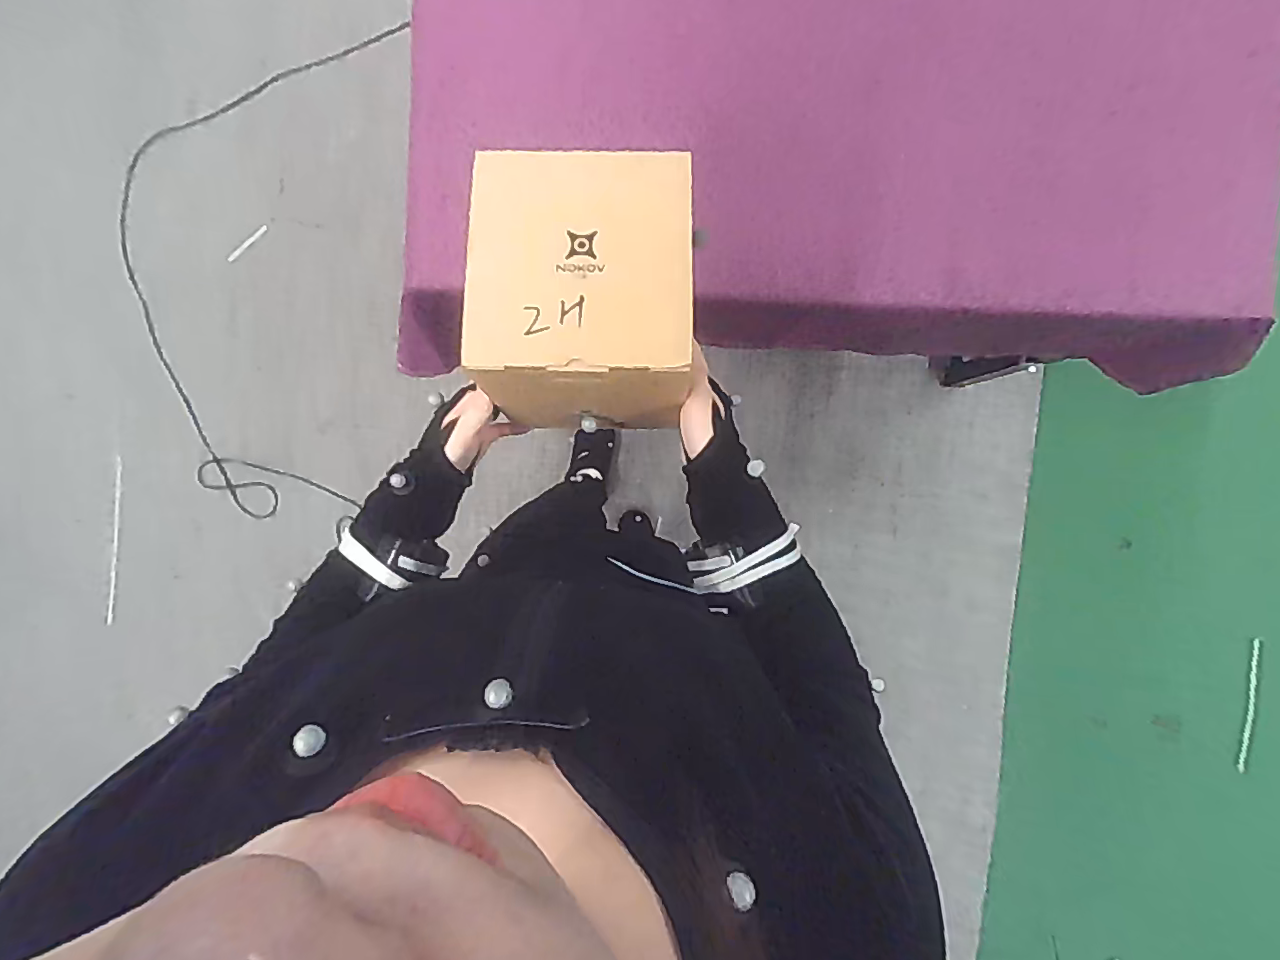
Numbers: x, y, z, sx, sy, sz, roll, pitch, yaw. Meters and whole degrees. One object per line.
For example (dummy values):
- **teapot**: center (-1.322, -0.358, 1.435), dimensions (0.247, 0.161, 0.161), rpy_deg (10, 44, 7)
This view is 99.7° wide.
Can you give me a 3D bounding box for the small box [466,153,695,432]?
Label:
- **small box**: center (-0.041, -0.151, 0.479), dimensions (0.168, 0.176, 0.179), rpy_deg (1, 80, 1)
